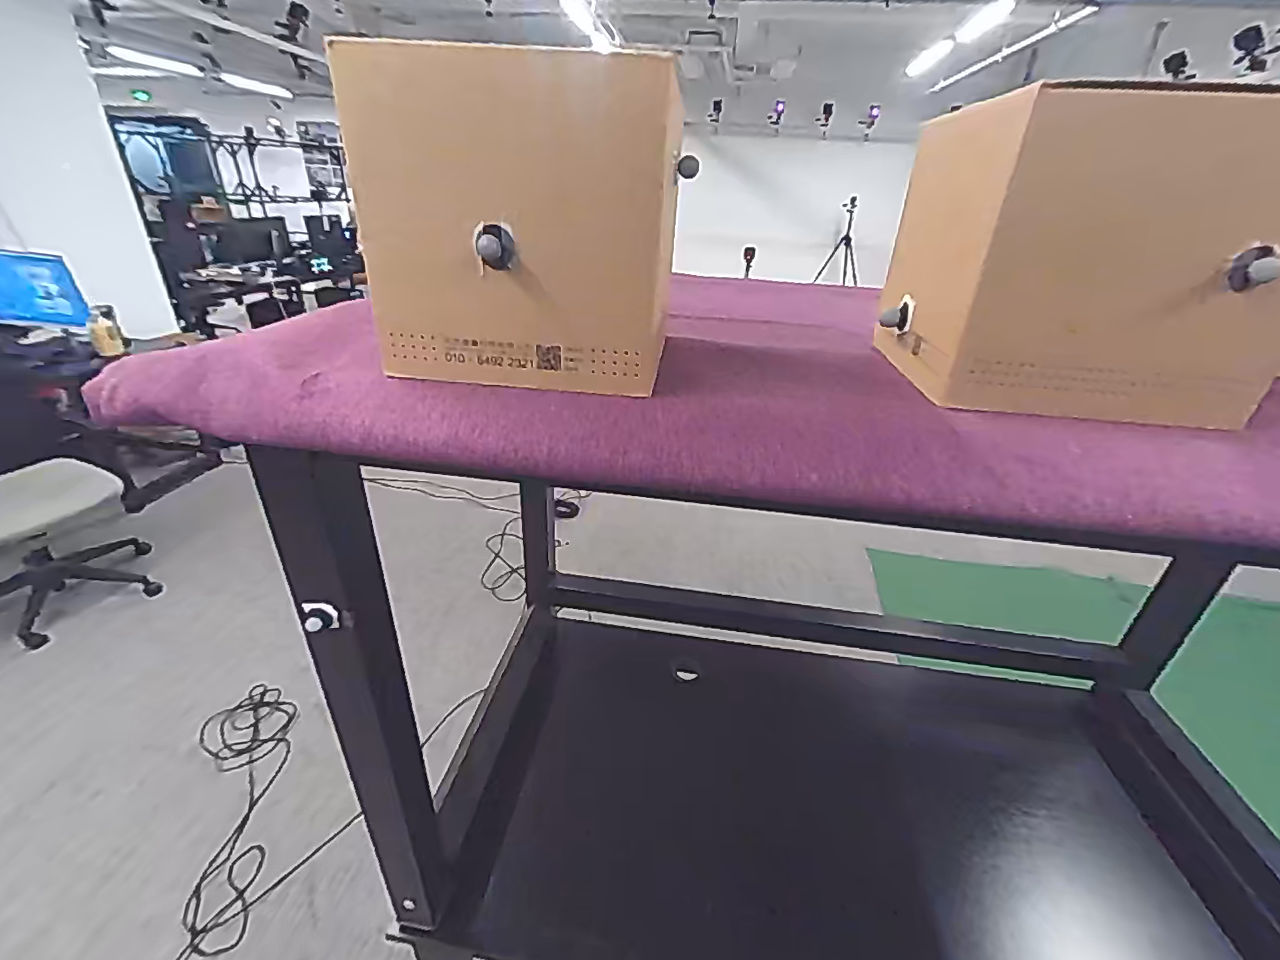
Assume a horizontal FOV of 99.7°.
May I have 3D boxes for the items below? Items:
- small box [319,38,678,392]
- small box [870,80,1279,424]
[{"bbox_3d":[-0.066,-0.166,0.358,0.168,0.176,0.179,6,29,3],"label":"small box"},{"bbox_3d":[0.276,-0.144,0.355,0.179,0.176,0.168,4,28,5],"label":"small box"}]
